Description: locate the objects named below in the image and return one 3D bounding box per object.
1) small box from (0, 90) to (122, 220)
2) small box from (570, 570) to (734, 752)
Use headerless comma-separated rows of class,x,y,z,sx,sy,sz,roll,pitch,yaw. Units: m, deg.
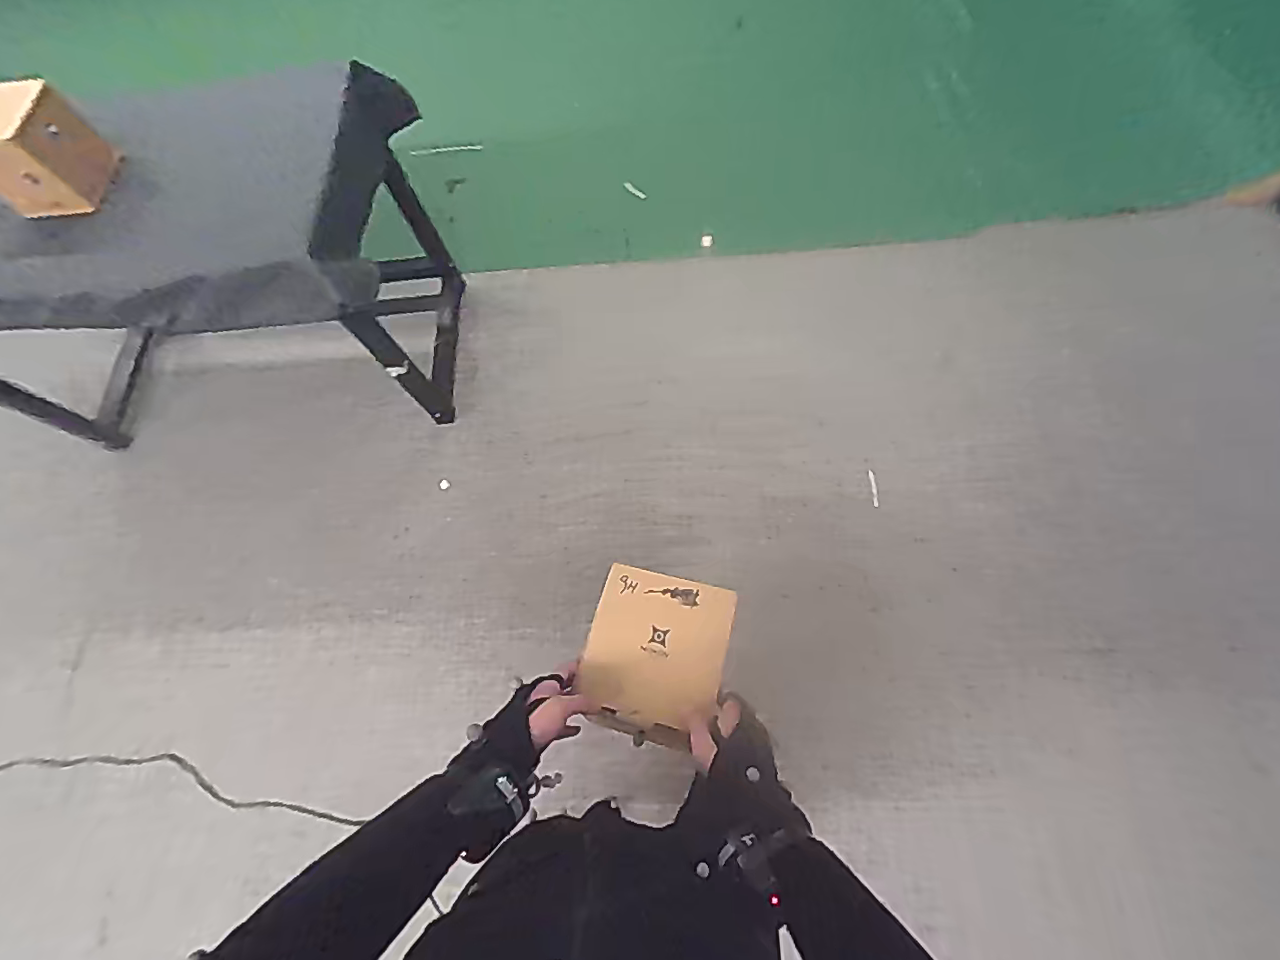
small box,-1.249,-0.664,1.123,0.168,0.176,0.179,-2,67,3
small box,0.025,0.245,0.716,0.168,0.176,0.179,11,60,12
